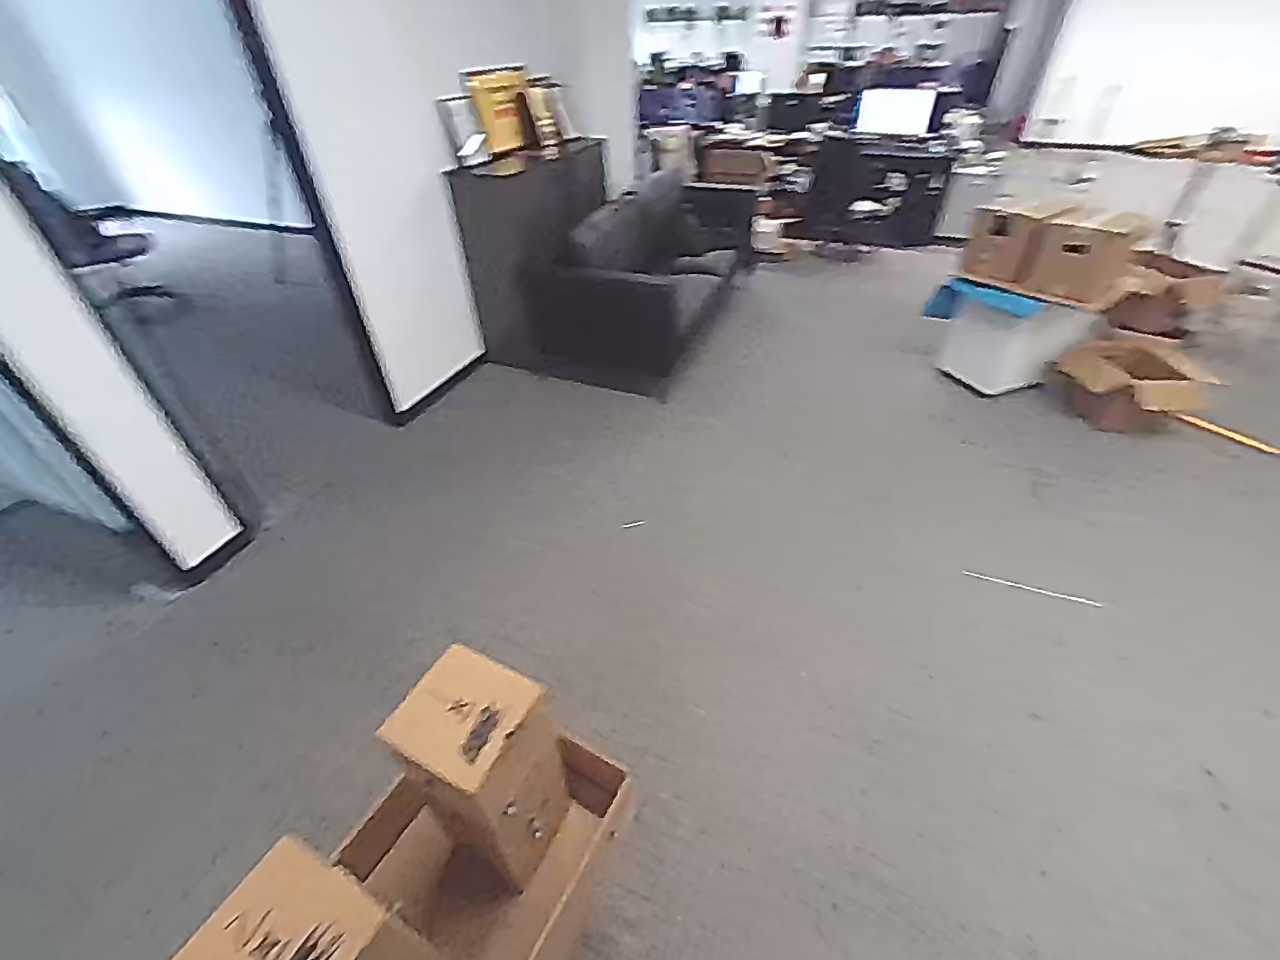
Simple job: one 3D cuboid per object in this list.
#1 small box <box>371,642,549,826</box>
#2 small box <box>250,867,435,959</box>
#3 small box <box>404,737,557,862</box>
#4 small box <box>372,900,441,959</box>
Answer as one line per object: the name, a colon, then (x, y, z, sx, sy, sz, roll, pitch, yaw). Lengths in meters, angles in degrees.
small box: (-0.257, 0.386, 0.817, 0.179, 0.176, 0.168, 17, 44, 21)
small box: (-0.403, 0.677, 0.725, 0.179, 0.176, 0.168, 20, 43, 22)
small box: (-0.261, 0.509, 0.924, 0.179, 0.176, 0.168, 19, 44, 20)
small box: (-0.399, 0.802, 0.828, 0.179, 0.176, 0.168, 19, 44, 22)
